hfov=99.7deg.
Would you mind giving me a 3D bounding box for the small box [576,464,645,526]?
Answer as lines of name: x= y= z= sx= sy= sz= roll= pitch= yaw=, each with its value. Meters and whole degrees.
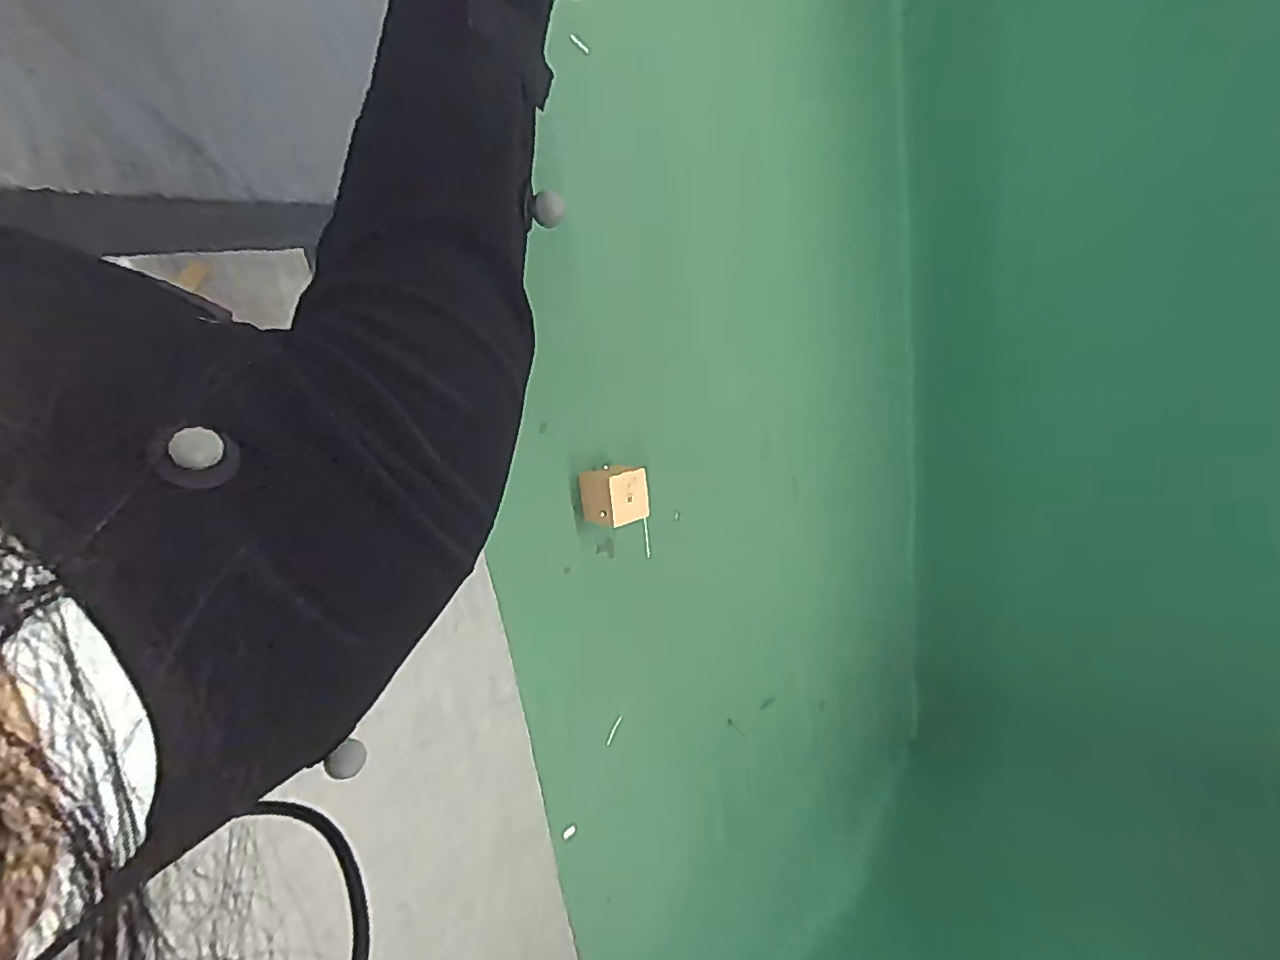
small box: x=-0.105 y=0.048 z=1.880 sx=0.168 sy=0.176 sz=0.179 roll=-16 pitch=105 yaw=-41
